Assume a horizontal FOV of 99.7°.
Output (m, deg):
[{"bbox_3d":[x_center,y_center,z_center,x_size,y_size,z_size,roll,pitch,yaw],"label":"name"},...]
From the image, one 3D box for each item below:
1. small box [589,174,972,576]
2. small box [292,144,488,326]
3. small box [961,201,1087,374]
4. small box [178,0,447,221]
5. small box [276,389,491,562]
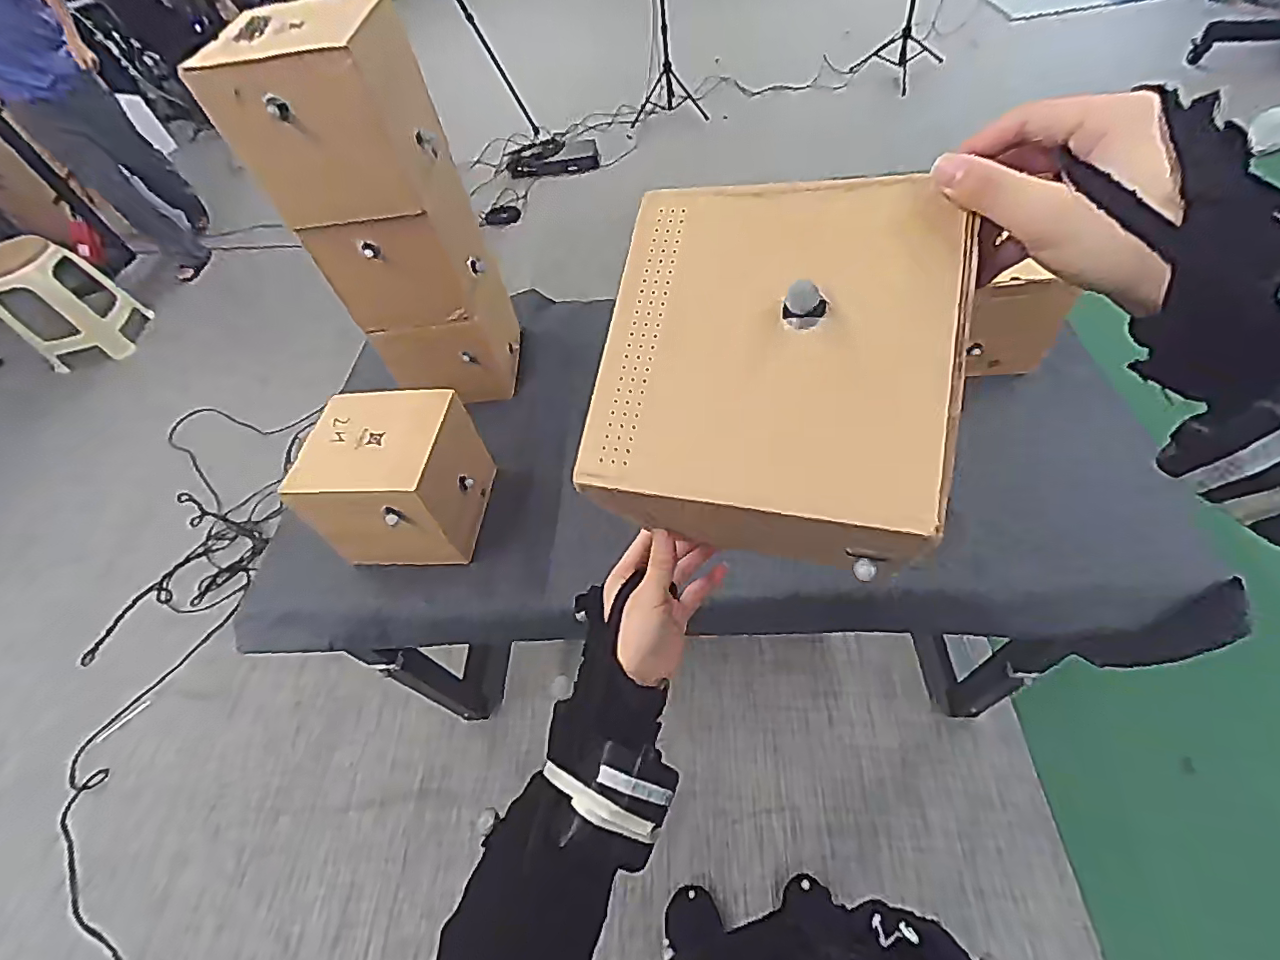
[{"bbox_3d":[0.084,-0.050,0.332,0.176,0.168,0.179,7,77,22],"label":"small box"},{"bbox_3d":[-0.334,-0.337,0.761,0.179,0.176,0.168,-5,57,3],"label":"small box"},{"bbox_3d":[0.485,-0.274,0.787,0.168,0.176,0.179,-1,56,9],"label":"small box"},{"bbox_3d":[-0.350,-0.421,0.621,0.179,0.176,0.168,-4,57,5],"label":"small box"},{"bbox_3d":[-0.317,-0.002,0.718,0.179,0.176,0.168,-1,52,8],"label":"small box"}]
